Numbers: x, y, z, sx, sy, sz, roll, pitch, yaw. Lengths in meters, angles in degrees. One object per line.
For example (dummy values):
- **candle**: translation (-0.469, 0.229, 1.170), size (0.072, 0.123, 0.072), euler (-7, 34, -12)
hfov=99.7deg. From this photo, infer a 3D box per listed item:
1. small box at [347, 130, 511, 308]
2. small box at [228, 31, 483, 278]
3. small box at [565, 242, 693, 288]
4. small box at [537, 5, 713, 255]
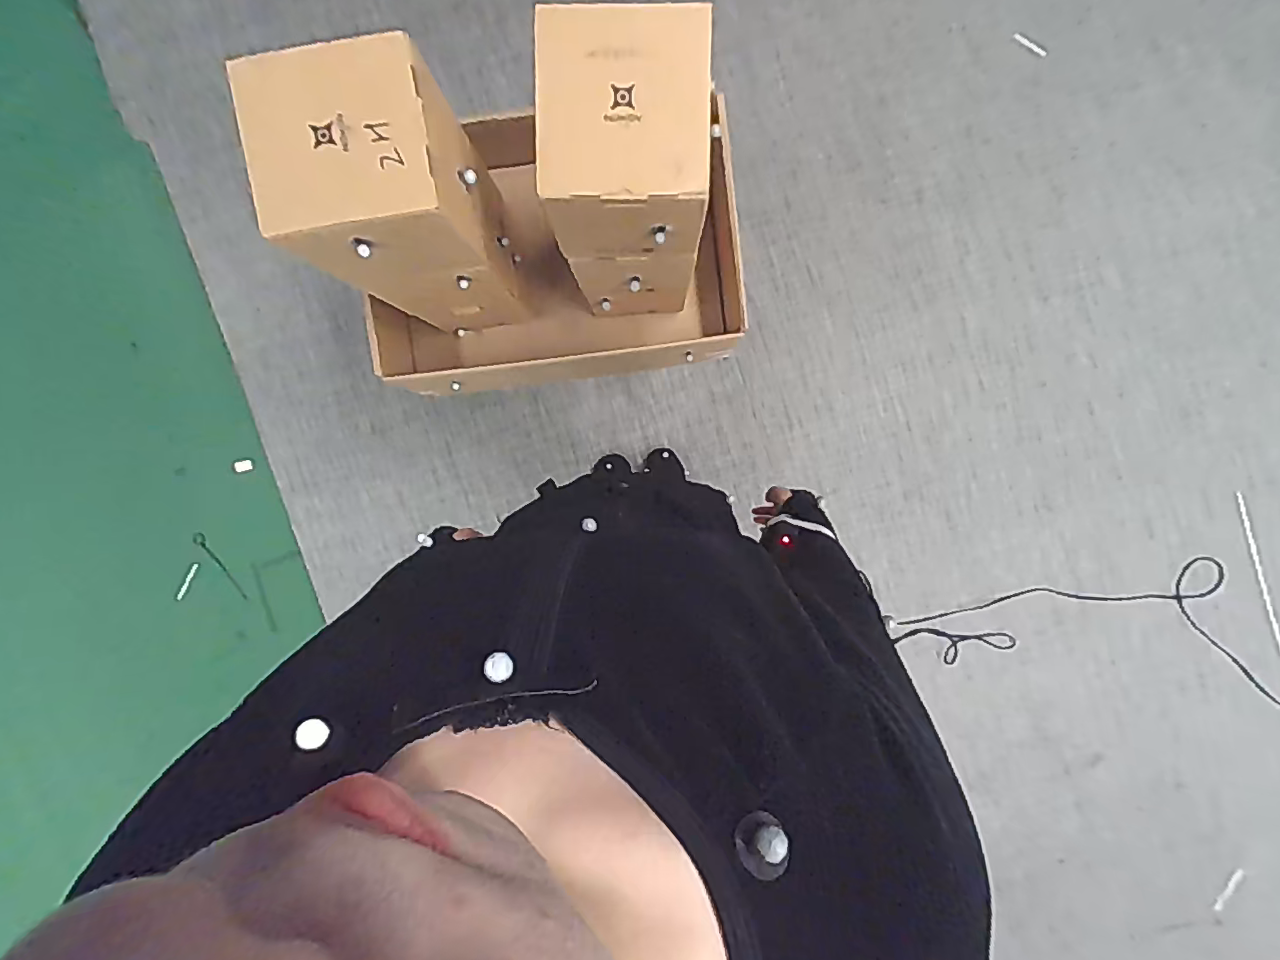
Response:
- **small box**: translation (-0.294, -0.349, 0.755), size (0.179, 0.176, 0.168), euler (-8, 94, -1)
- **small box**: translation (-0.291, -0.334, 0.591), size (0.179, 0.176, 0.168), euler (-8, 95, 0)
- **small box**: translation (-0.013, -0.371, 0.750), size (0.168, 0.176, 0.179), euler (-1, 95, 0)
- **small box**: translation (-0.014, -0.358, 0.587), size (0.168, 0.176, 0.179), euler (1, 94, 0)
